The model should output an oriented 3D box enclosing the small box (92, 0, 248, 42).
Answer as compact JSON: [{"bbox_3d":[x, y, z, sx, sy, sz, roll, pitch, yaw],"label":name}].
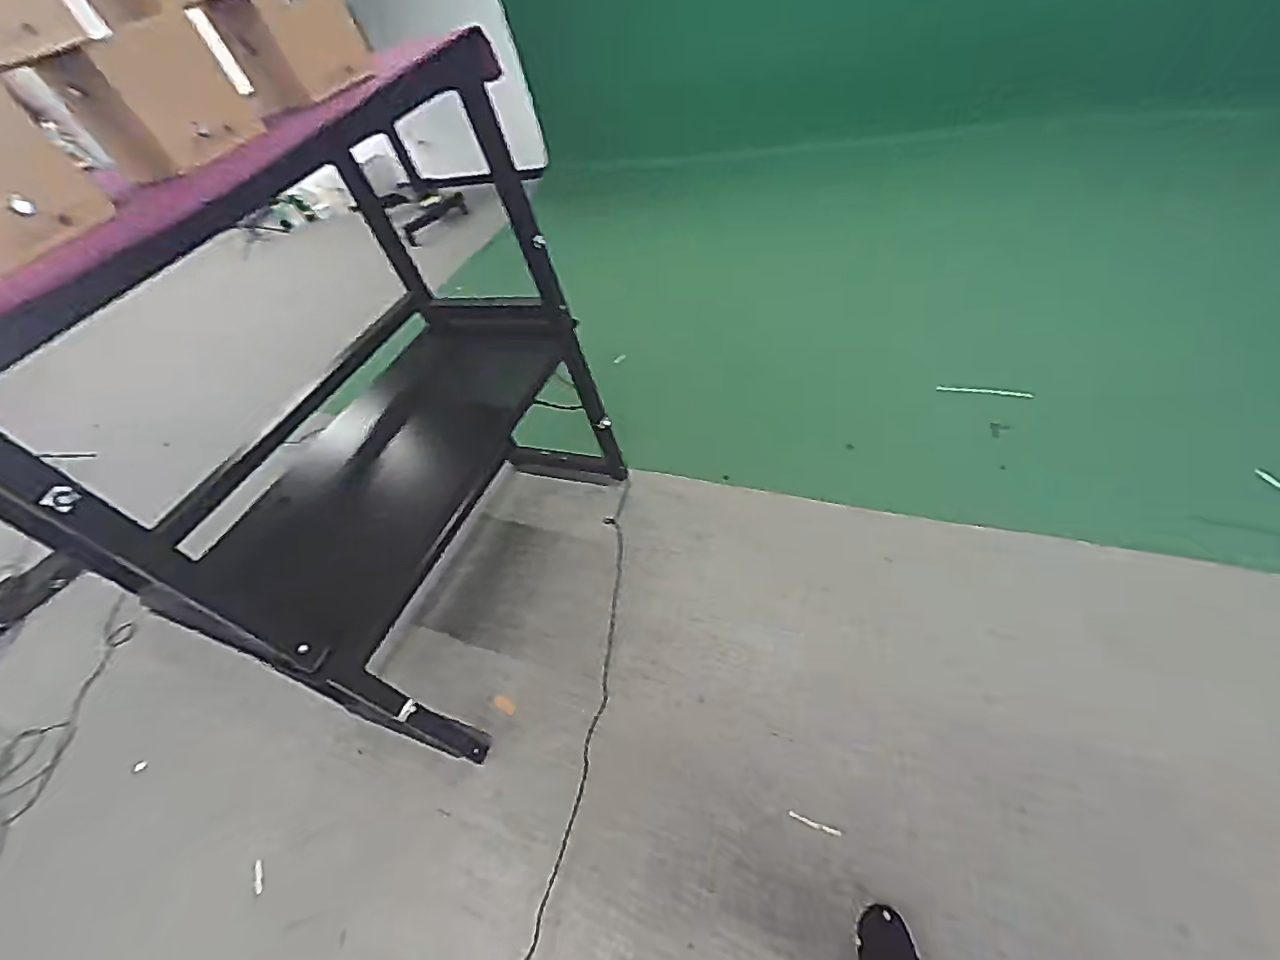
[{"bbox_3d":[-0.737,-0.793,0.812,0.179,0.176,0.168,10,54,27],"label":"small box"}]

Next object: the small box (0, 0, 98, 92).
[{"bbox_3d":[-0.831,-0.572,0.649,0.179,0.176,0.168,5,51,24],"label":"small box"}]

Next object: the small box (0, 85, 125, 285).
[{"bbox_3d":[-0.834,-0.362,0.684,0.179,0.176,0.168,8,53,24],"label":"small box"}]

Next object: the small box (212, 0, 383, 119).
[{"bbox_3d":[-0.631,-0.802,1.011,0.179,0.176,0.168,15,57,31],"label":"small box"}]

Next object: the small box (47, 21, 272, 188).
[{"bbox_3d":[-0.745,-0.581,0.853,0.179,0.176,0.168,11,55,26],"label":"small box"}]
